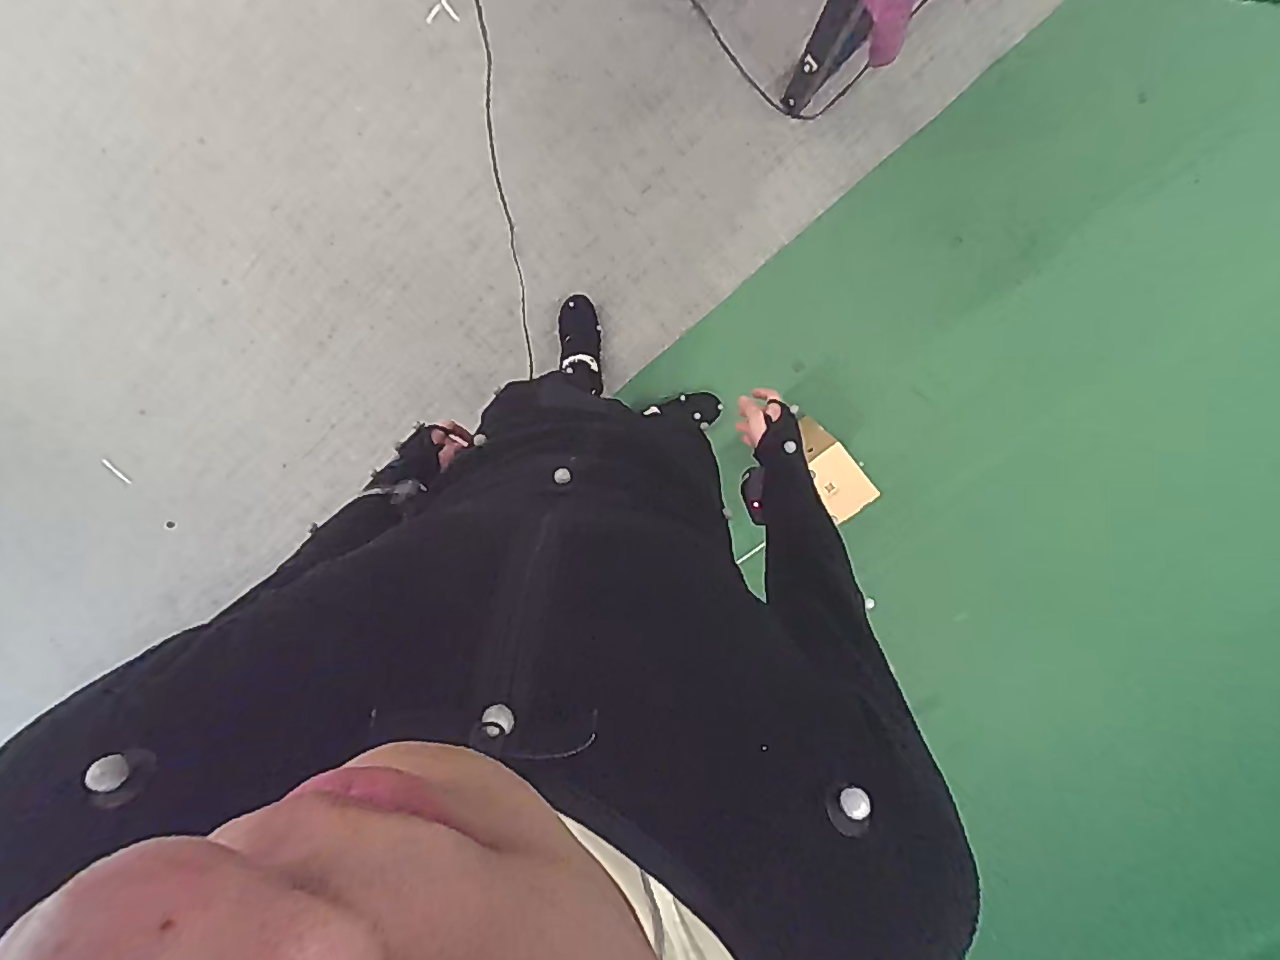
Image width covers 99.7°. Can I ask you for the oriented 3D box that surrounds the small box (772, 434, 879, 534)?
[{"bbox_3d":[0.458,0.000,1.365,0.168,0.176,0.179,-40,102,13],"label":"small box"}]

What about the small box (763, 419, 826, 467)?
[{"bbox_3d":[0.470,-0.050,1.519,0.168,0.176,0.179,-39,100,13],"label":"small box"}]
